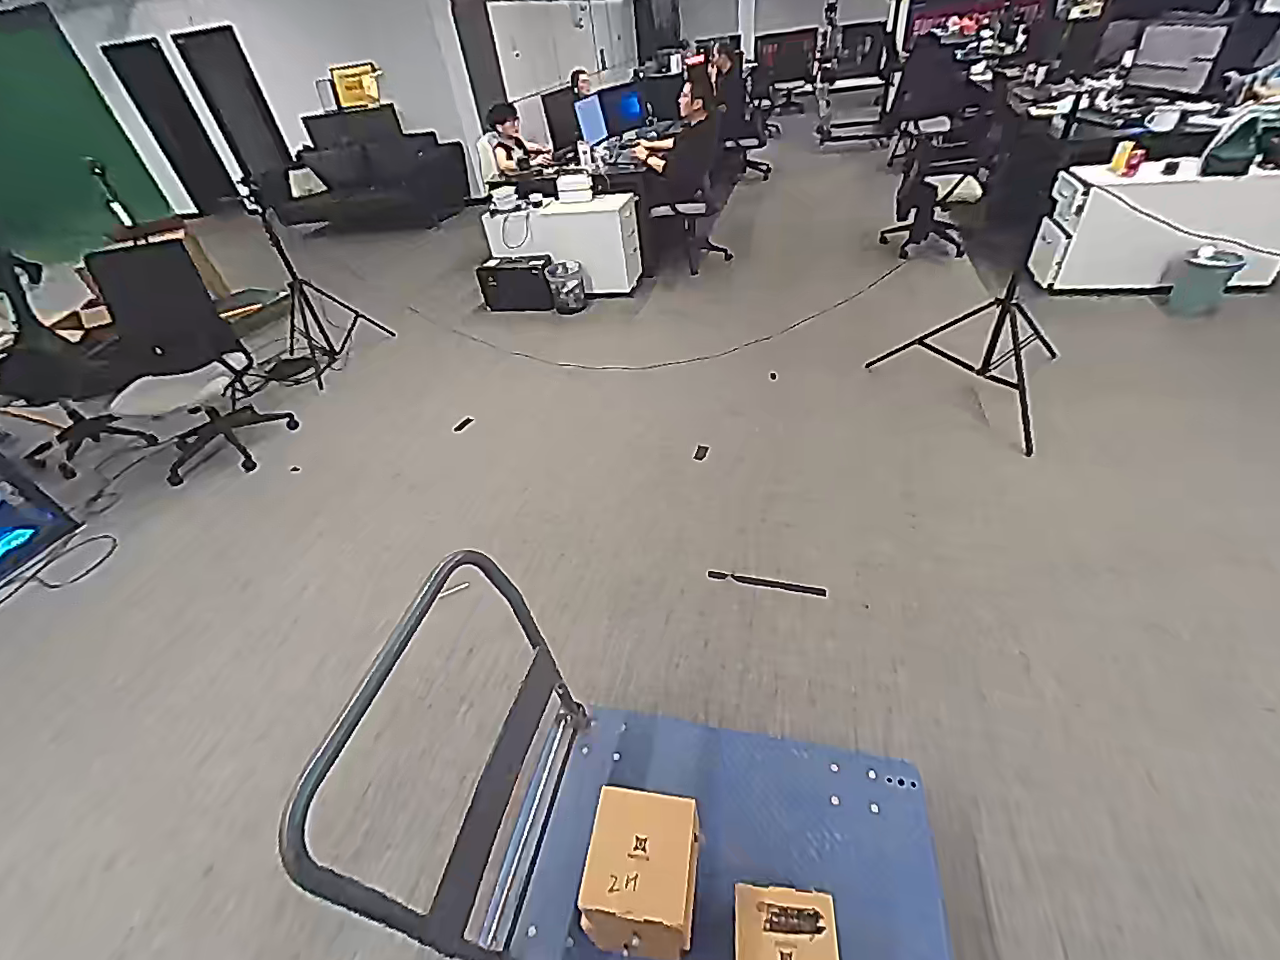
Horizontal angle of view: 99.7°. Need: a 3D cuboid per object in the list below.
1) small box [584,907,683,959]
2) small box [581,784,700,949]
[{"bbox_3d":[0.004,0.773,1.025,0.168,0.176,0.179,2,42,11],"label":"small box"},{"bbox_3d":[0.012,0.650,0.913,0.168,0.176,0.179,2,42,12],"label":"small box"}]
